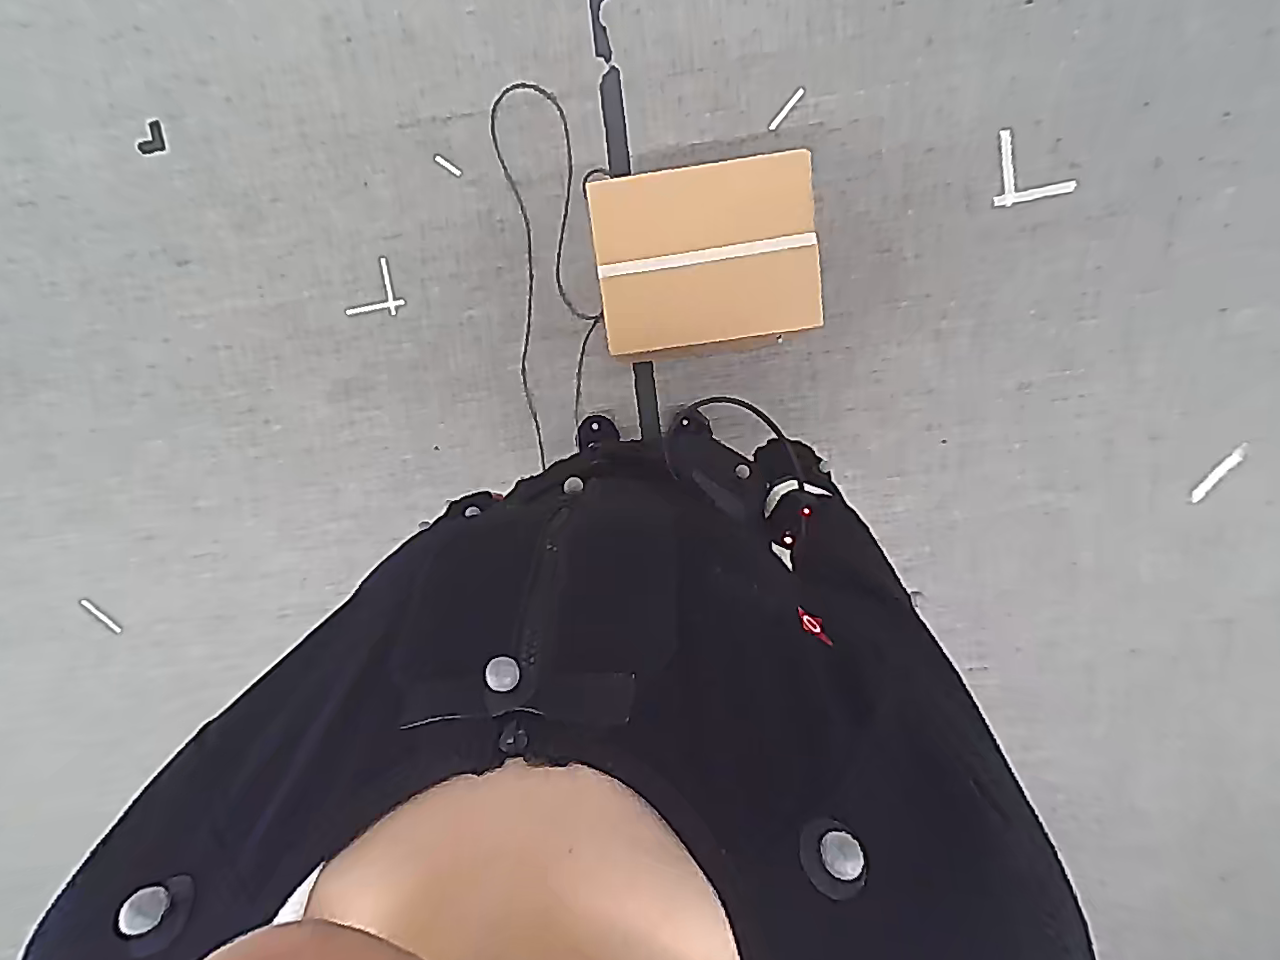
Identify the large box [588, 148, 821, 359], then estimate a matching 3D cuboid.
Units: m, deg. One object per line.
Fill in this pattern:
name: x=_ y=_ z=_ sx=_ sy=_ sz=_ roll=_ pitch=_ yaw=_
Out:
large box: x=0.129 y=-0.443 z=1.144 sx=0.408 sy=0.320 sz=0.320 roll=-7 pitch=99 yaw=4
